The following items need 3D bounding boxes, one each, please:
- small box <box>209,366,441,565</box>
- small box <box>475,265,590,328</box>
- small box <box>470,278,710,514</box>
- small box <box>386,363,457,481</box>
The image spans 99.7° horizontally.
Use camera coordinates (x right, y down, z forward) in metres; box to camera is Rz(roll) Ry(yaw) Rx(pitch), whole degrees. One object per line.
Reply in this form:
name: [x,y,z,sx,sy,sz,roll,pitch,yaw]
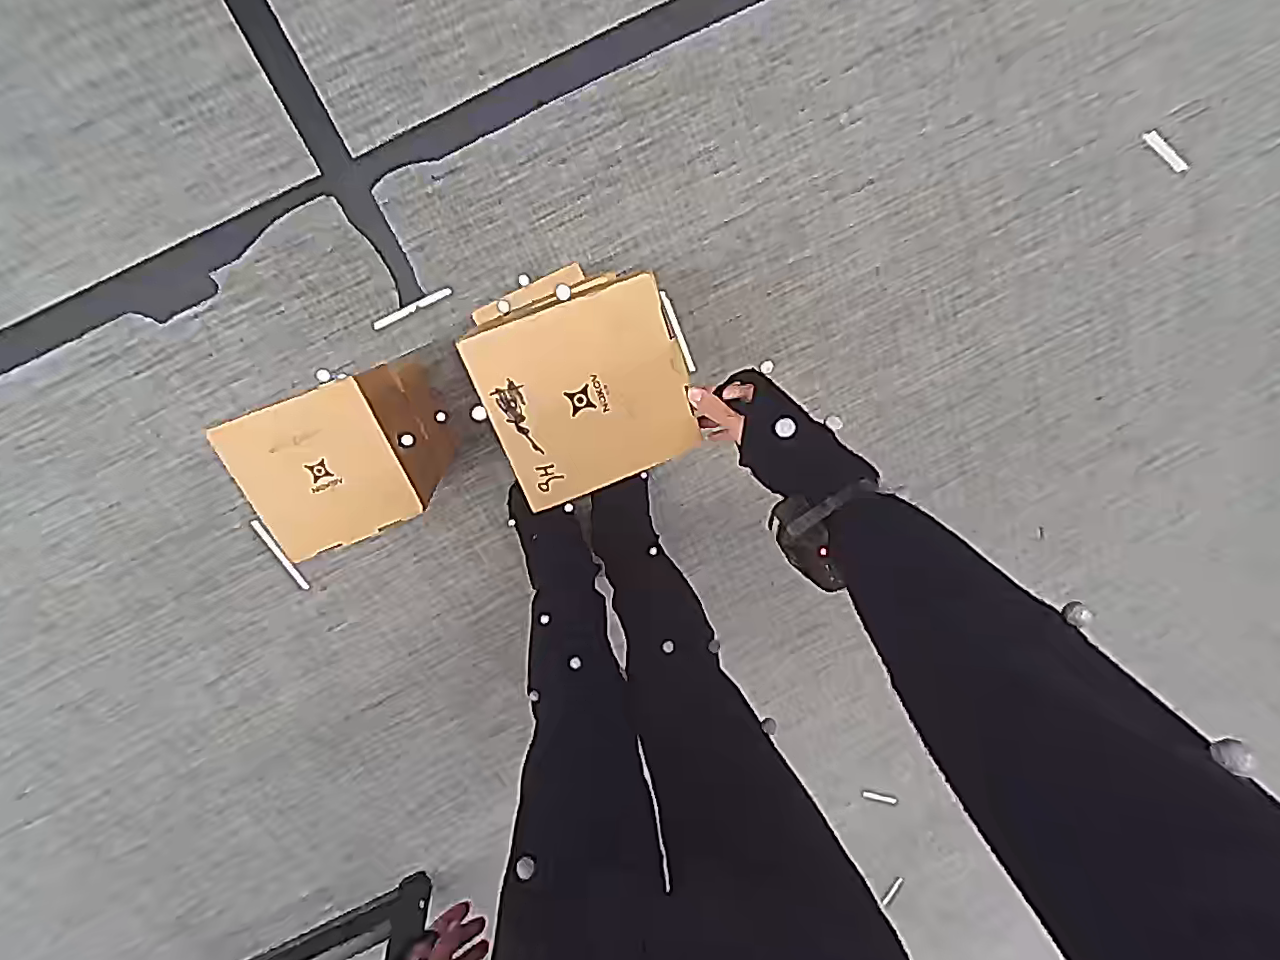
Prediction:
small box: [-0.369,-0.029,0.679,0.168,0.176,0.179,-23,110,-6]
small box: [-0.134,-0.214,0.841,0.168,0.176,0.179,-27,111,-3]
small box: [-0.055,-0.095,0.545,0.179,0.176,0.168,-22,112,-6]
small box: [-0.402,-0.071,0.832,0.179,0.176,0.168,-21,111,-5]
